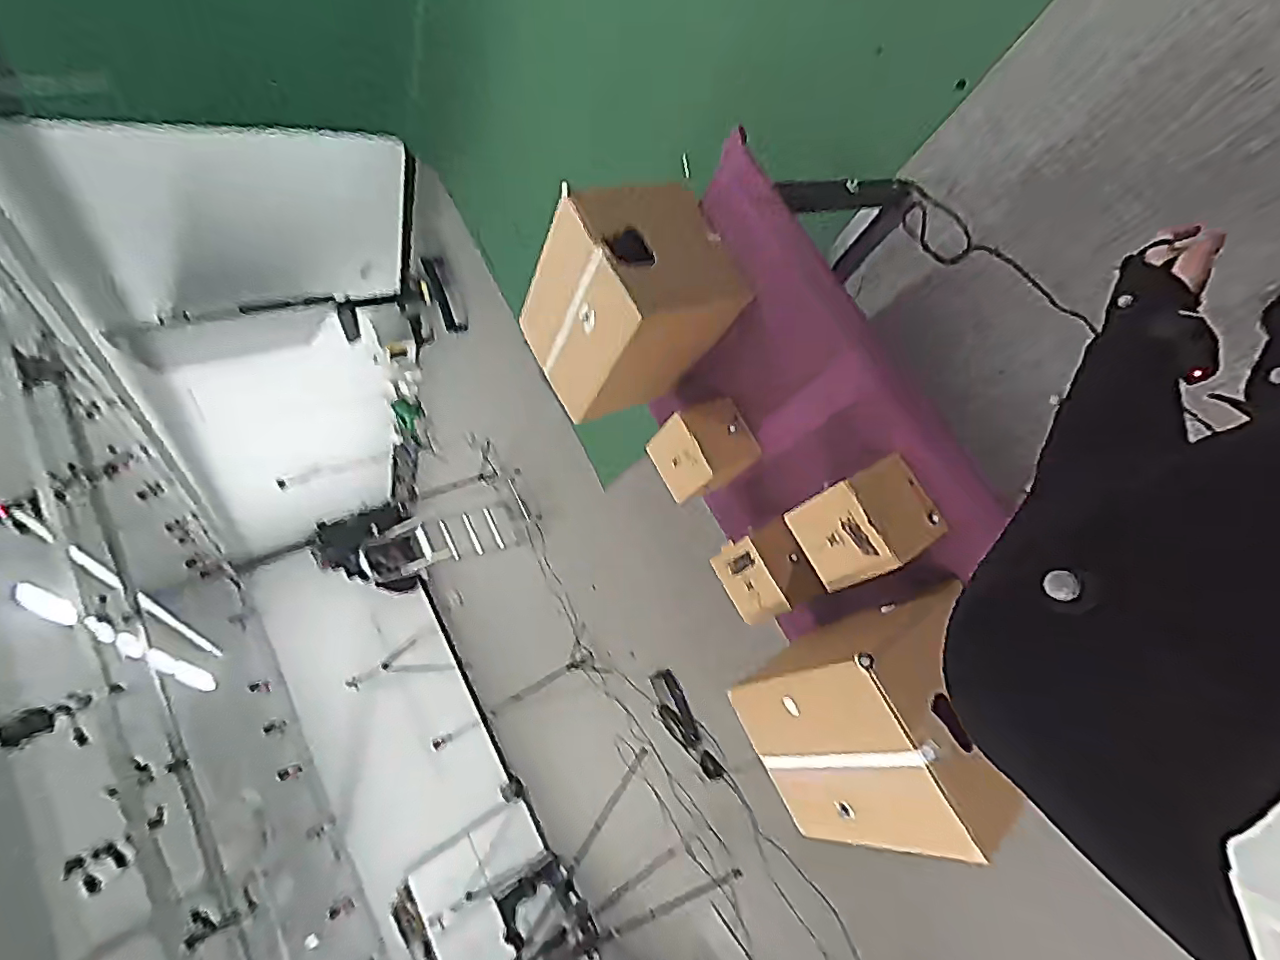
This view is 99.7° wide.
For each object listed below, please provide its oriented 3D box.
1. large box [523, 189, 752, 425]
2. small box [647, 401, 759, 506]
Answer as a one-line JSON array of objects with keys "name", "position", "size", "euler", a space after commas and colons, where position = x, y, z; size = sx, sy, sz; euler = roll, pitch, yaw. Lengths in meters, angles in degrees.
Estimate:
[{"name": "large box", "position": [-0.025, -0.386, 1.239], "size": [0.320, 0.320, 0.408], "euler": [59, 146, 11]}, {"name": "small box", "position": [0.151, -0.064, 1.295], "size": [0.168, 0.176, 0.179], "euler": [60, 146, 11]}]
